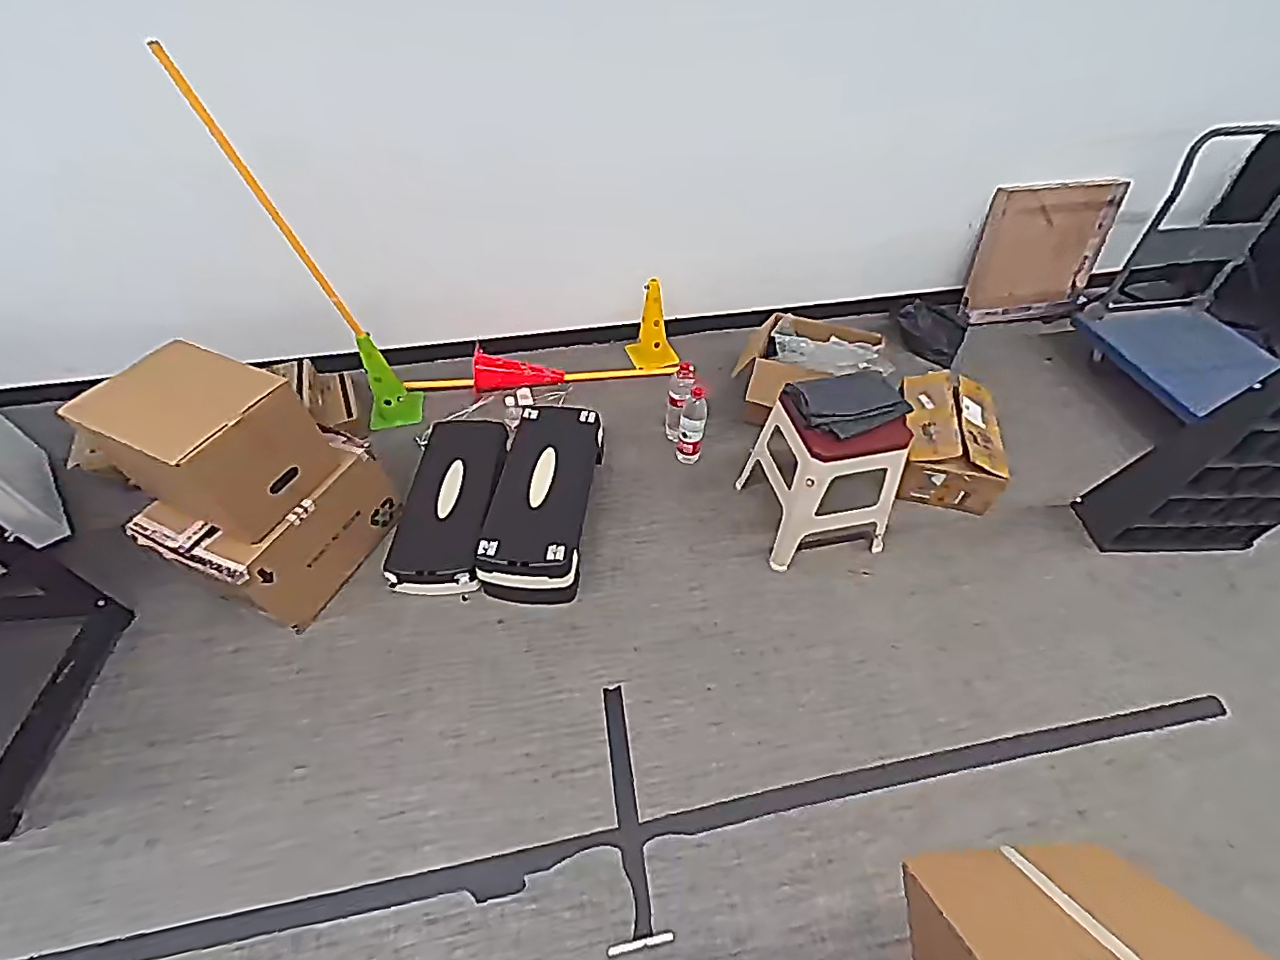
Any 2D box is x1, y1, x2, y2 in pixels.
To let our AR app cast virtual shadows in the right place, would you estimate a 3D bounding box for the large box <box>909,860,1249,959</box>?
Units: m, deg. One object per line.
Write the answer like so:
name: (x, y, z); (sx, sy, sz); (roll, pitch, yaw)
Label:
large box: (0.562, 0.712, 0.611); (0.320, 0.408, 0.320); (-5, 84, 2)
